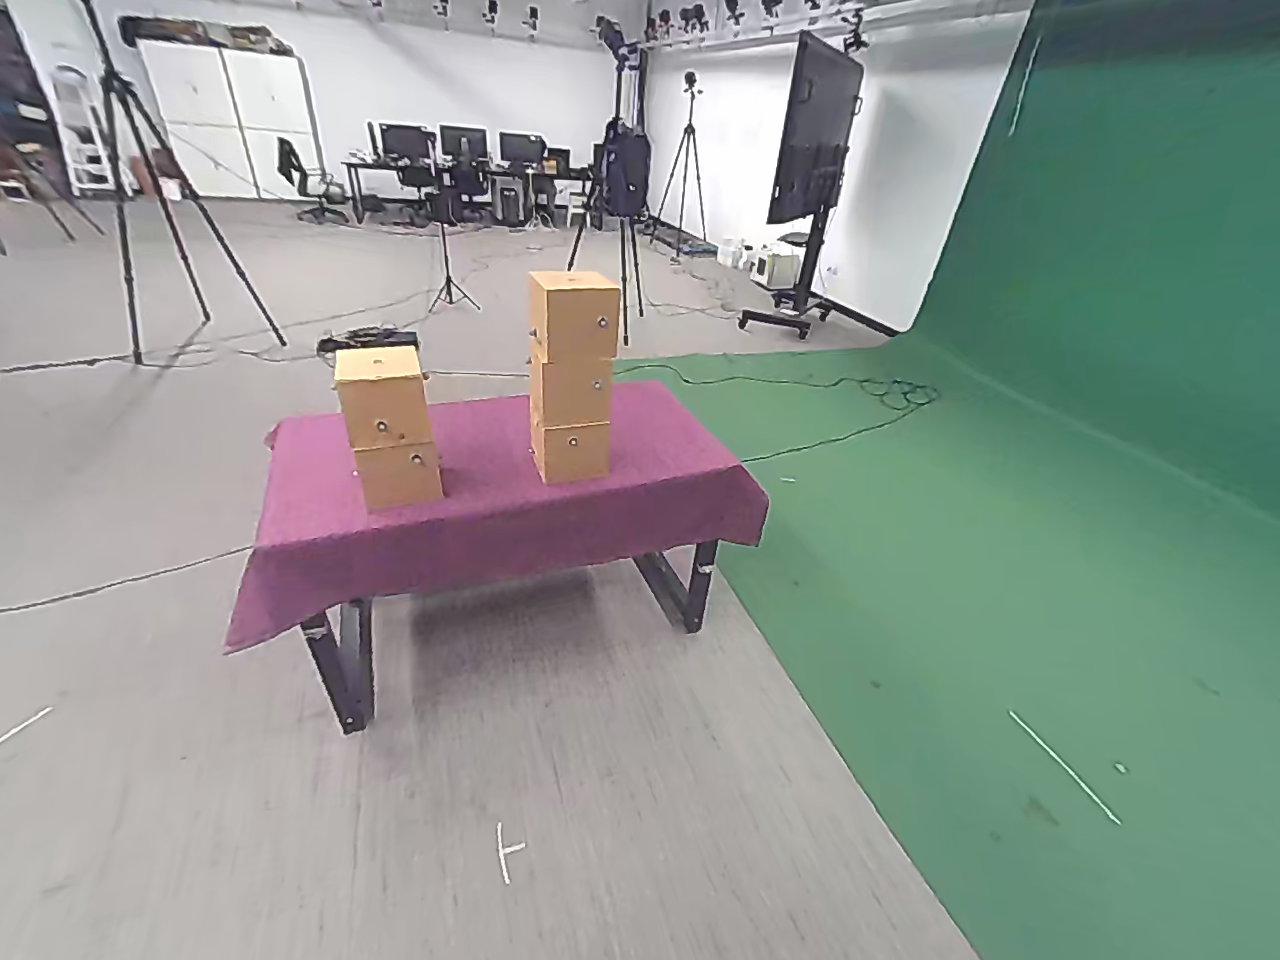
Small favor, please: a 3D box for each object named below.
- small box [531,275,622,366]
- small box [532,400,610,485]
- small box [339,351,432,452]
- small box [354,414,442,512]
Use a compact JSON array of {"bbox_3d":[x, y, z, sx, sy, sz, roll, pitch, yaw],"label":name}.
[{"bbox_3d":[-0.157,-0.383,1.294,0.179,0.176,0.168,-9,36,-21],"label":"small box"},{"bbox_3d":[-0.188,-0.100,1.457,0.179,0.176,0.168,-8,36,-20],"label":"small box"},{"bbox_3d":[-0.574,-0.181,1.227,0.168,0.176,0.179,-9,37,-22],"label":"small box"},{"bbox_3d":[-0.582,-0.043,1.313,0.179,0.176,0.168,-10,36,-22],"label":"small box"}]
